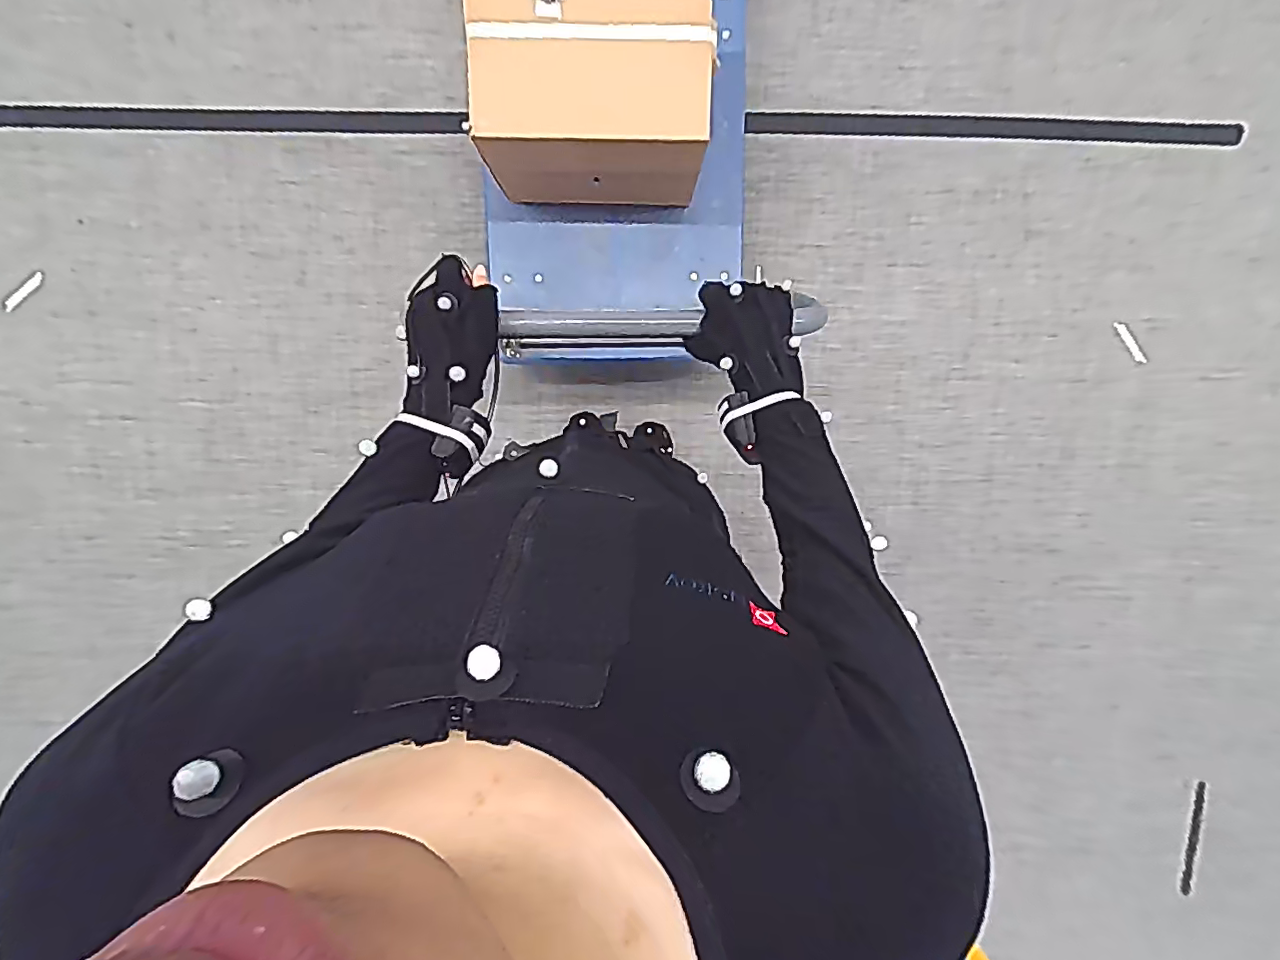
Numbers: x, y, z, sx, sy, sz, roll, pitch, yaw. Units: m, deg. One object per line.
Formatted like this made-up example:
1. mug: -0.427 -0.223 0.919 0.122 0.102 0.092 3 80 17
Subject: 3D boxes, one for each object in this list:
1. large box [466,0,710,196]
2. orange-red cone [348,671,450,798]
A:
1. large box: -0.084 -0.756 1.032 0.408 0.320 0.320 0 99 -1
2. orange-red cone: -0.648 0.674 1.388 0.198 0.360 0.199 8 97 -3
